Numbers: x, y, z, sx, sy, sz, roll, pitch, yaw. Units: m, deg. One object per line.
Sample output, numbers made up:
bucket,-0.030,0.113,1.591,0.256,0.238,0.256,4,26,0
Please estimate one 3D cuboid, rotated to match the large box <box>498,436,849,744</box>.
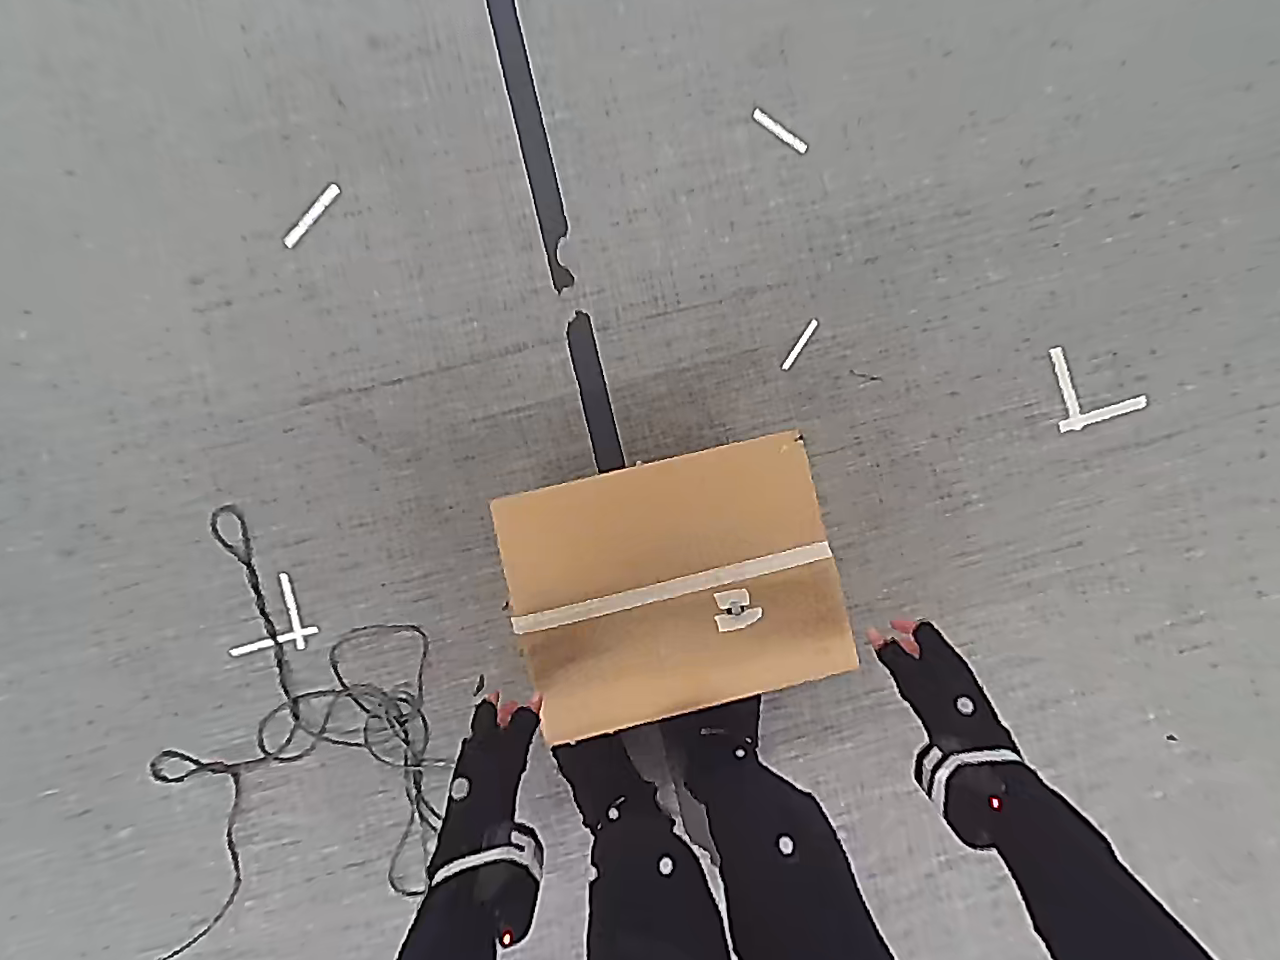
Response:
large box,0.038,0.145,0.842,0.408,0.320,0.320,-14,89,-3
